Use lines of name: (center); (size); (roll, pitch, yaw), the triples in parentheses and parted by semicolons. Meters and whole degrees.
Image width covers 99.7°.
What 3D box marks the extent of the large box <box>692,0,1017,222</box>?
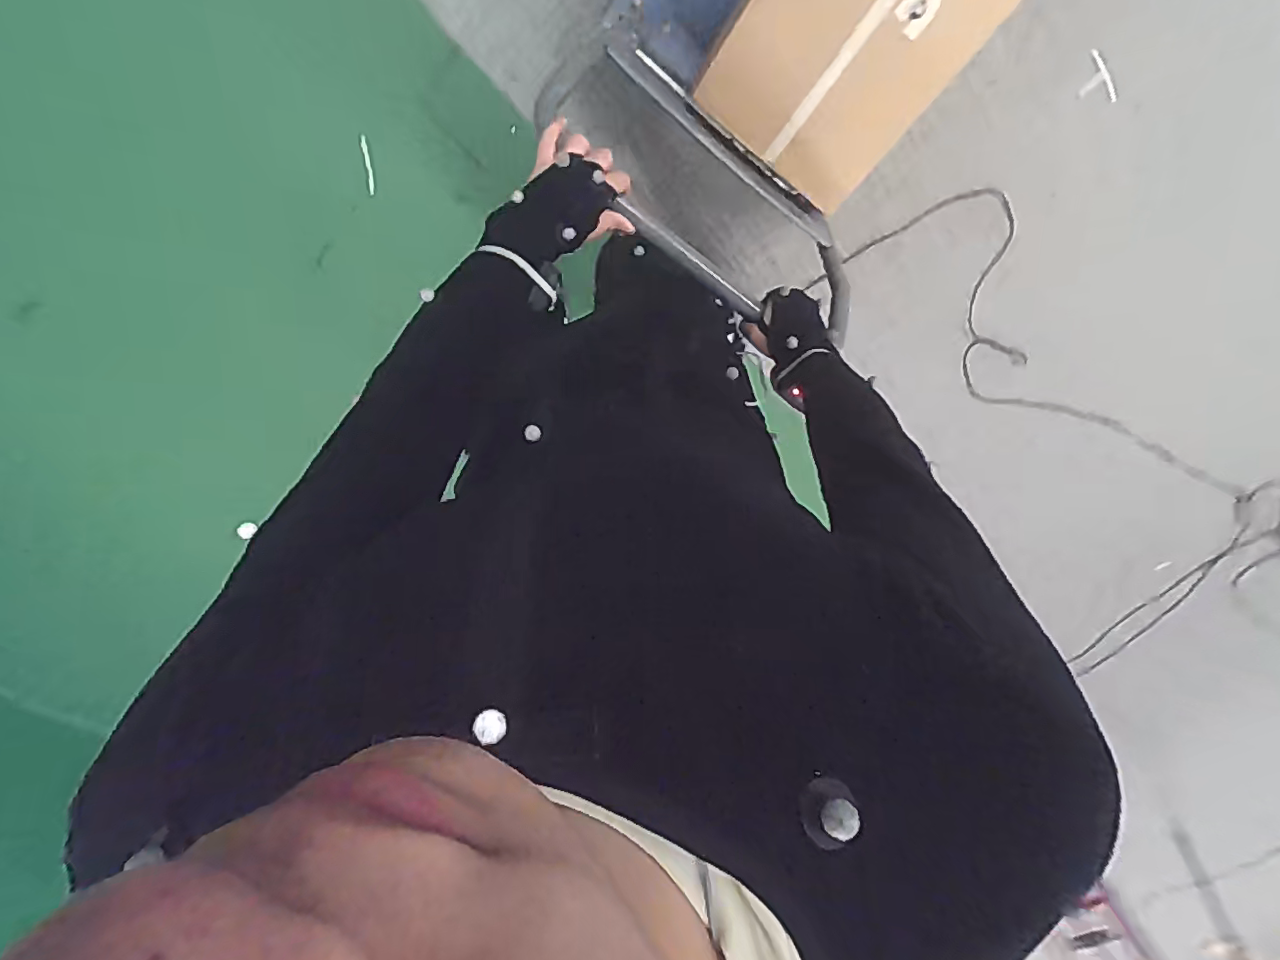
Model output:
large box: (0.330, -0.751, 0.939); (0.320, 0.320, 0.408); (30, 127, -20)
